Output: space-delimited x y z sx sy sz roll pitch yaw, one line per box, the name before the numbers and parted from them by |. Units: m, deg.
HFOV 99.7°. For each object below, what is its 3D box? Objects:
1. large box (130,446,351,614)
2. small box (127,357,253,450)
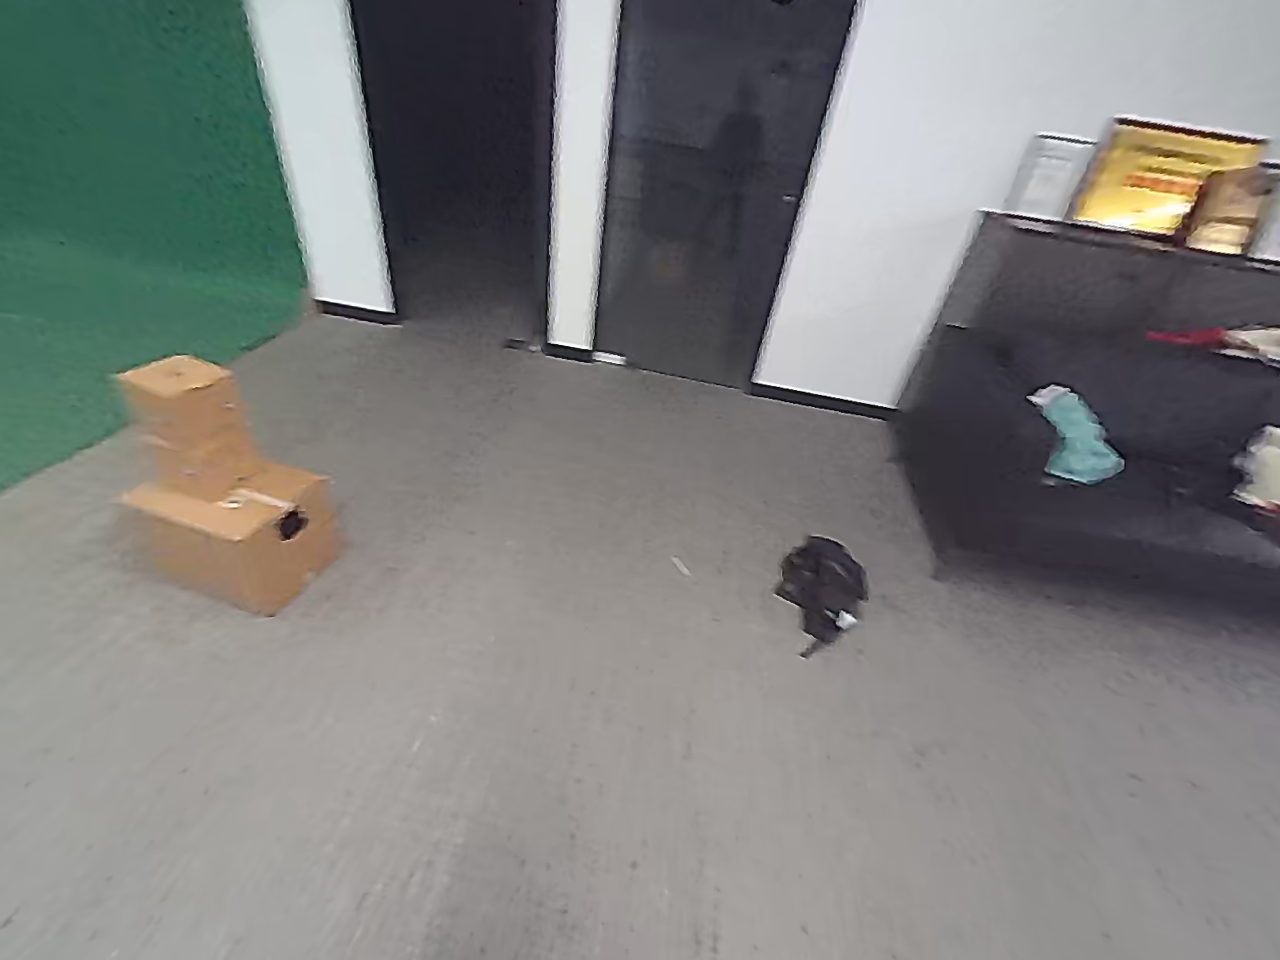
large box | -1.177 0.147 1.642 0.408 0.320 0.320 17 38 8
small box | -1.168 -0.199 1.421 0.179 0.176 0.168 18 36 13
